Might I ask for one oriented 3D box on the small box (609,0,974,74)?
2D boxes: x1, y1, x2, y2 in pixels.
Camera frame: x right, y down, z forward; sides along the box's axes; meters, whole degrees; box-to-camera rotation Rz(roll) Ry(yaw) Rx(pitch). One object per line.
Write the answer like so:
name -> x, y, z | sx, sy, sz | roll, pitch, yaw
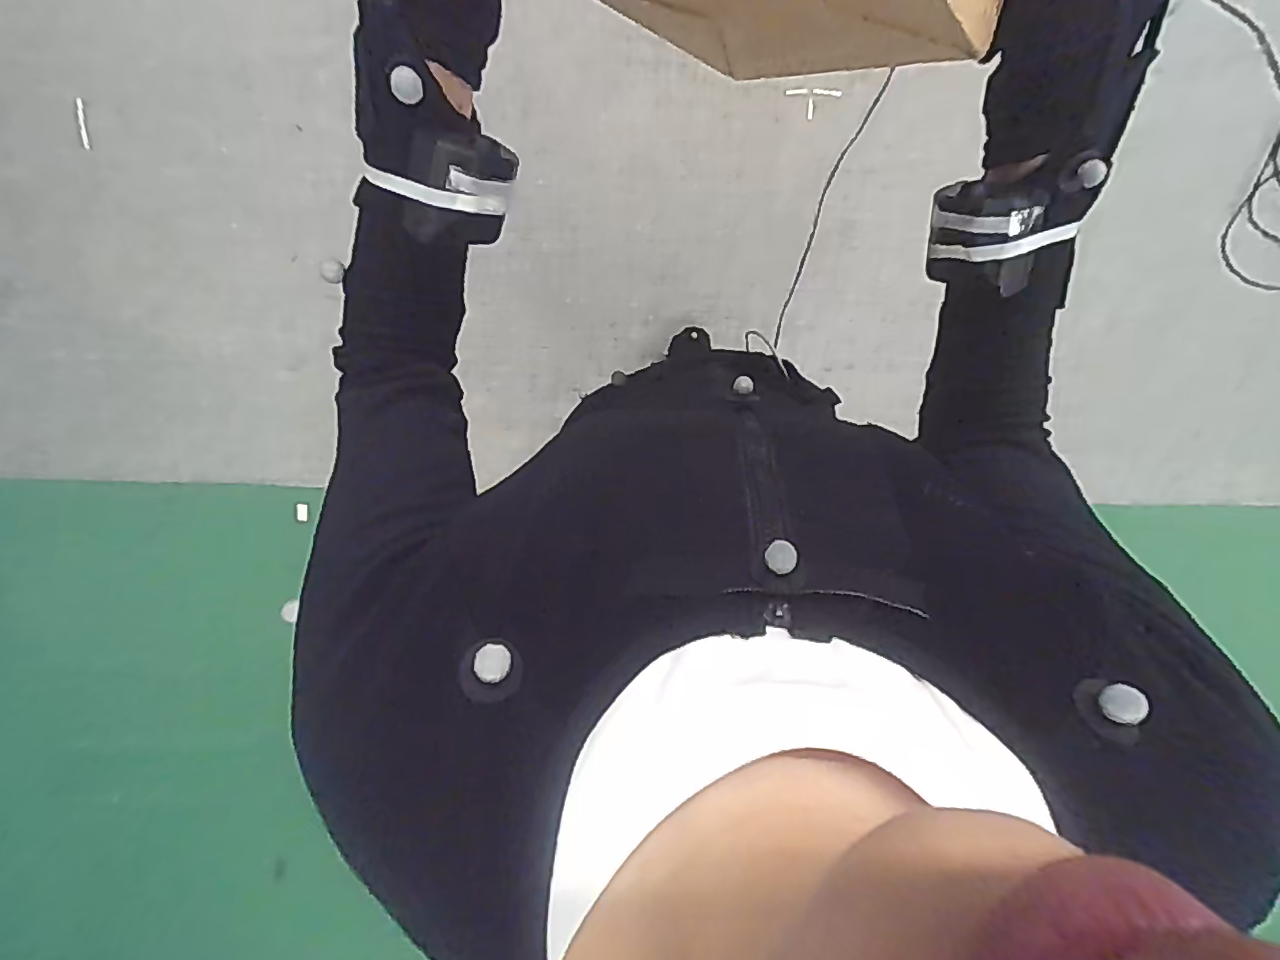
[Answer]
small box -> 0.078, -0.319, 0.252 | 0.168, 0.179, 0.176 | 26, 117, 36
